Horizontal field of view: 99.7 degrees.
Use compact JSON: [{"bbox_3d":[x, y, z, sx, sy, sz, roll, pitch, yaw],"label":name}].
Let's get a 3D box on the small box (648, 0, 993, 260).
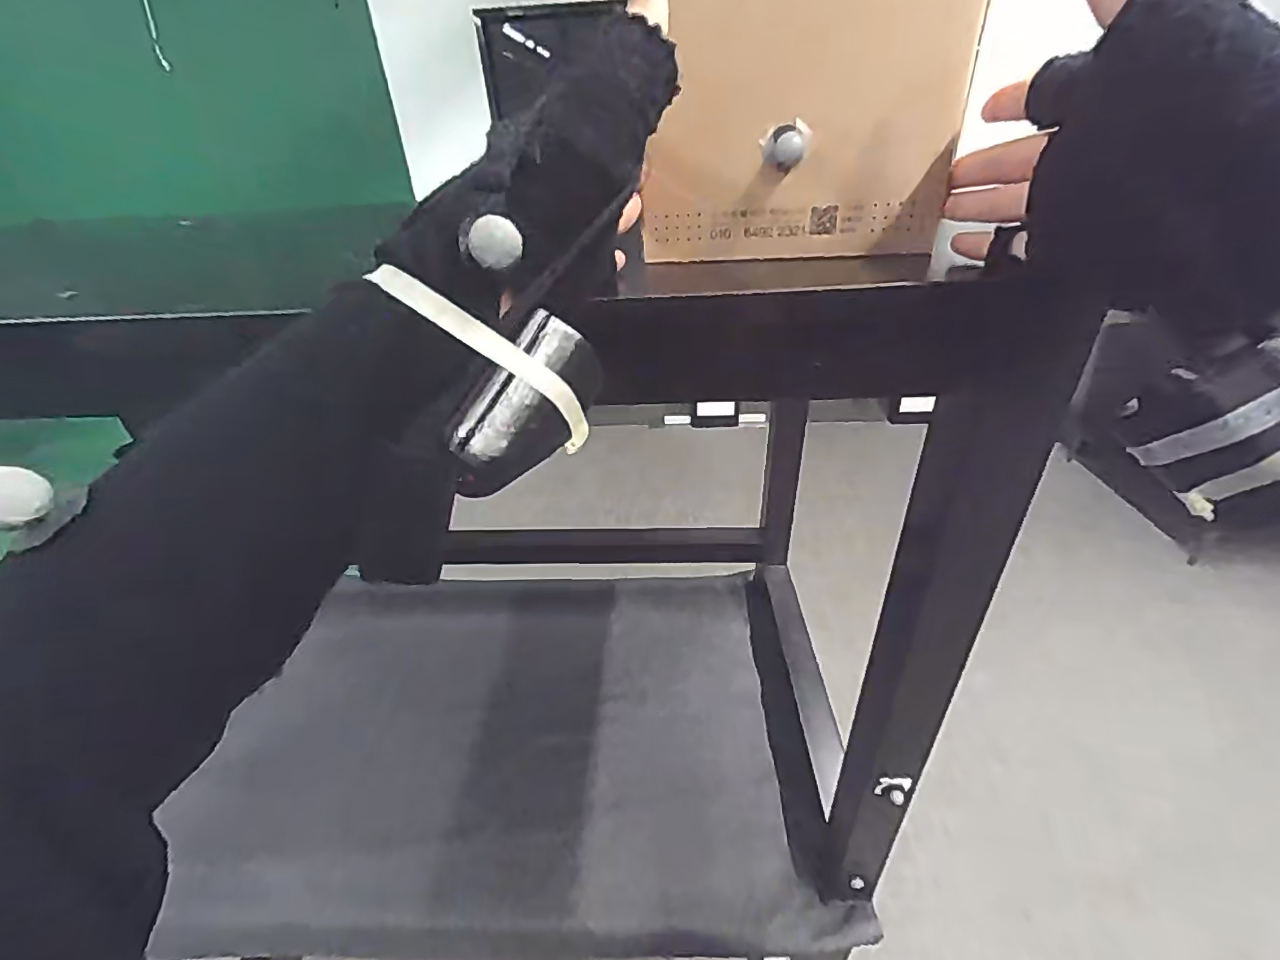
[{"bbox_3d":[0.098,-0.243,0.344,0.168,0.176,0.179,2,32,11],"label":"small box"}]
